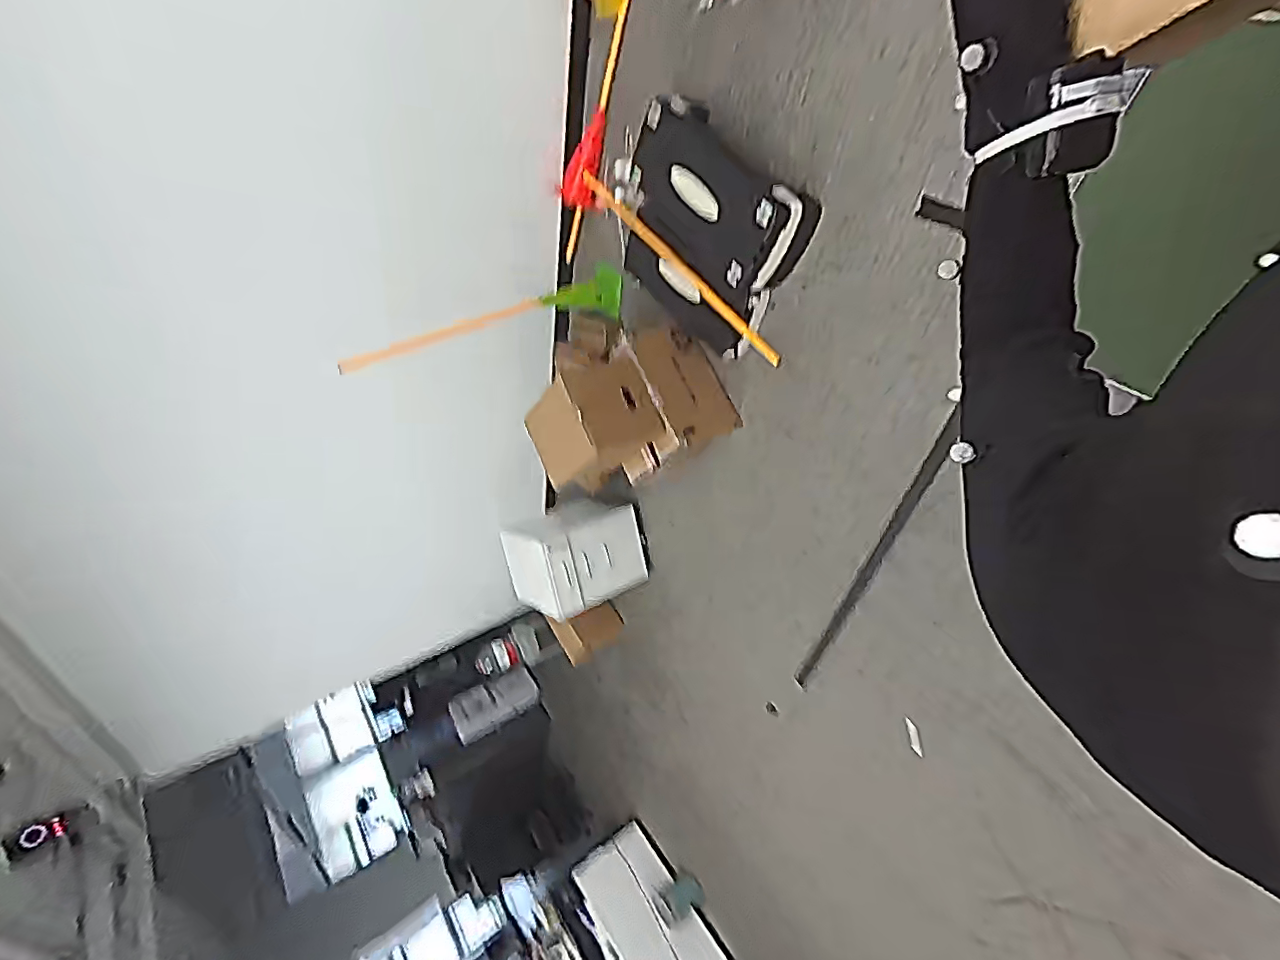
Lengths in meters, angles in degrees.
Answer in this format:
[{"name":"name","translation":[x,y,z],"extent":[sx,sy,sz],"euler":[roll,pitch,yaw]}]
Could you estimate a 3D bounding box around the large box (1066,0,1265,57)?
[{"name":"large box","translation":[0.468,-0.526,0.286],"extent":[0.408,0.320,0.320],"euler":[-11,107,54]}]
